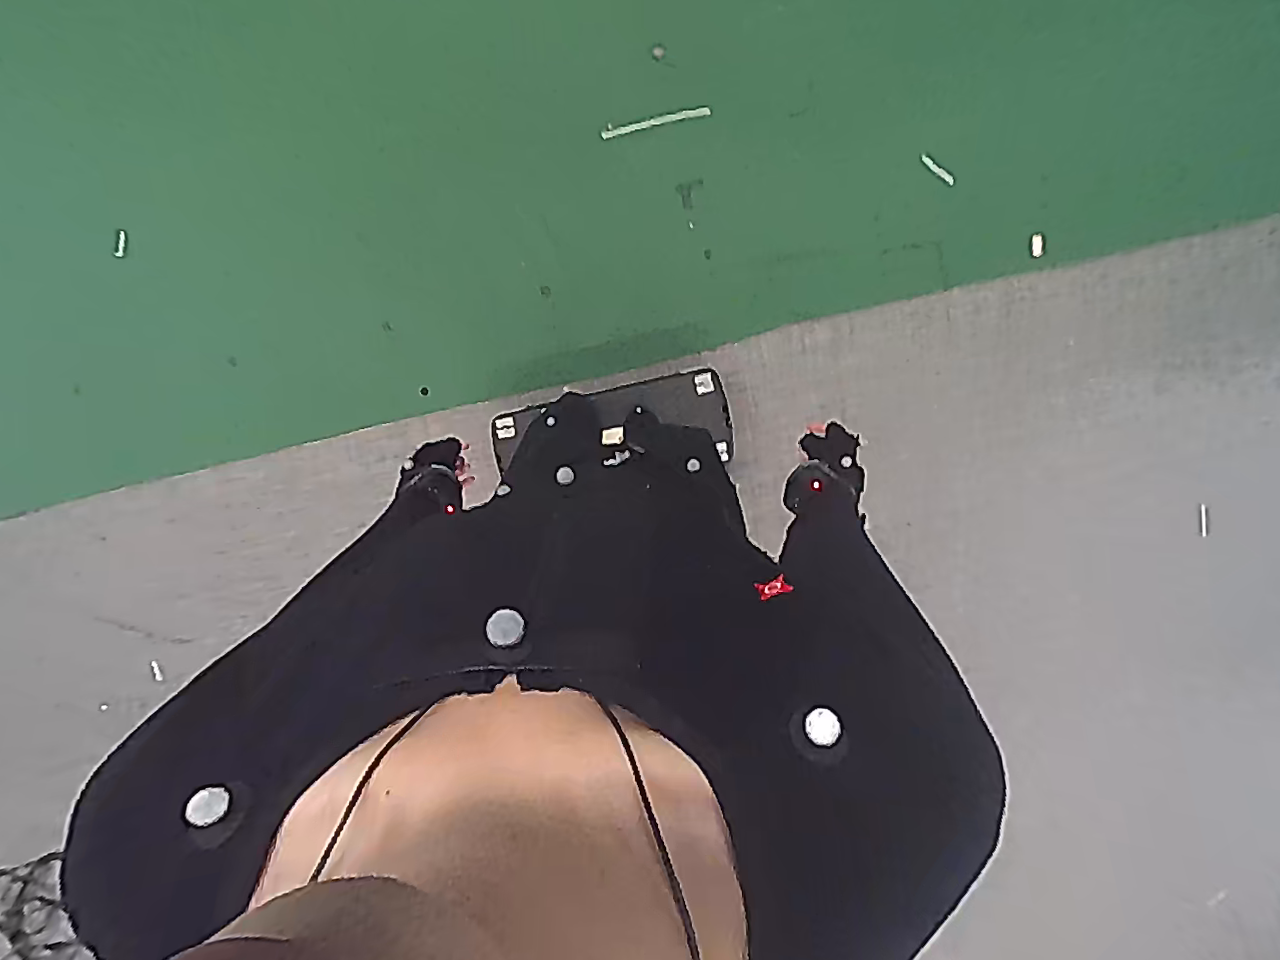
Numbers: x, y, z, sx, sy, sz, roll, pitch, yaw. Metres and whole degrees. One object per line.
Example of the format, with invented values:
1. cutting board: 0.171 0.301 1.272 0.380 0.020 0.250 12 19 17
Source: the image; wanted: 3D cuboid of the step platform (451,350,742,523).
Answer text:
1. step platform: -0.101 -0.114 1.368 0.684 0.204 0.286 -13 100 2
